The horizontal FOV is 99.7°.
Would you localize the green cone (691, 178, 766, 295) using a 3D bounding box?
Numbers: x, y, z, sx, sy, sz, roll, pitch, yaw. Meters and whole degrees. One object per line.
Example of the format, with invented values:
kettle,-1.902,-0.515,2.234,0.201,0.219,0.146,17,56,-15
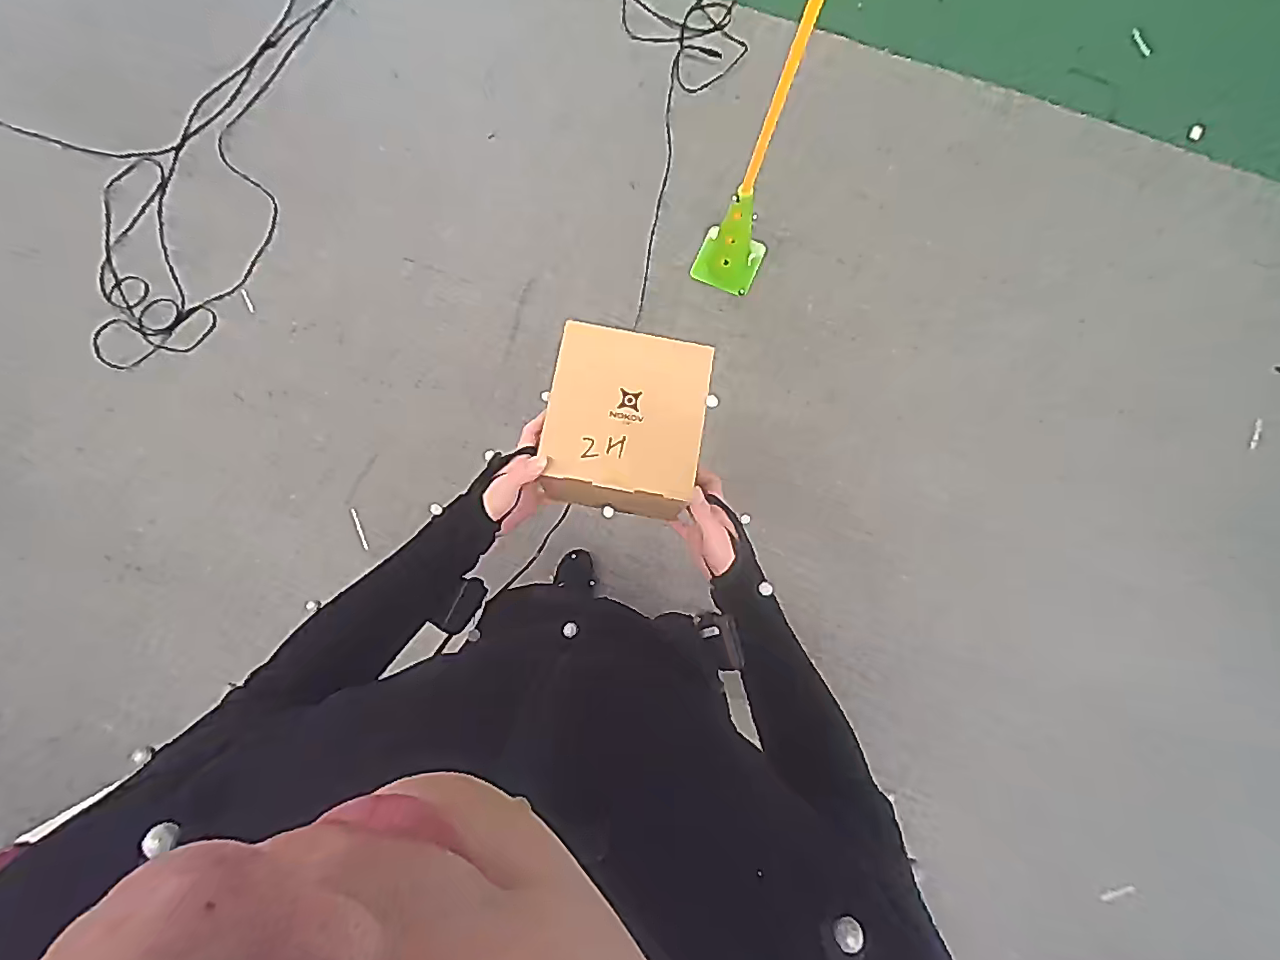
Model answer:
green cone,0.282,-0.743,1.586,0.202,0.368,0.200,23,82,6
